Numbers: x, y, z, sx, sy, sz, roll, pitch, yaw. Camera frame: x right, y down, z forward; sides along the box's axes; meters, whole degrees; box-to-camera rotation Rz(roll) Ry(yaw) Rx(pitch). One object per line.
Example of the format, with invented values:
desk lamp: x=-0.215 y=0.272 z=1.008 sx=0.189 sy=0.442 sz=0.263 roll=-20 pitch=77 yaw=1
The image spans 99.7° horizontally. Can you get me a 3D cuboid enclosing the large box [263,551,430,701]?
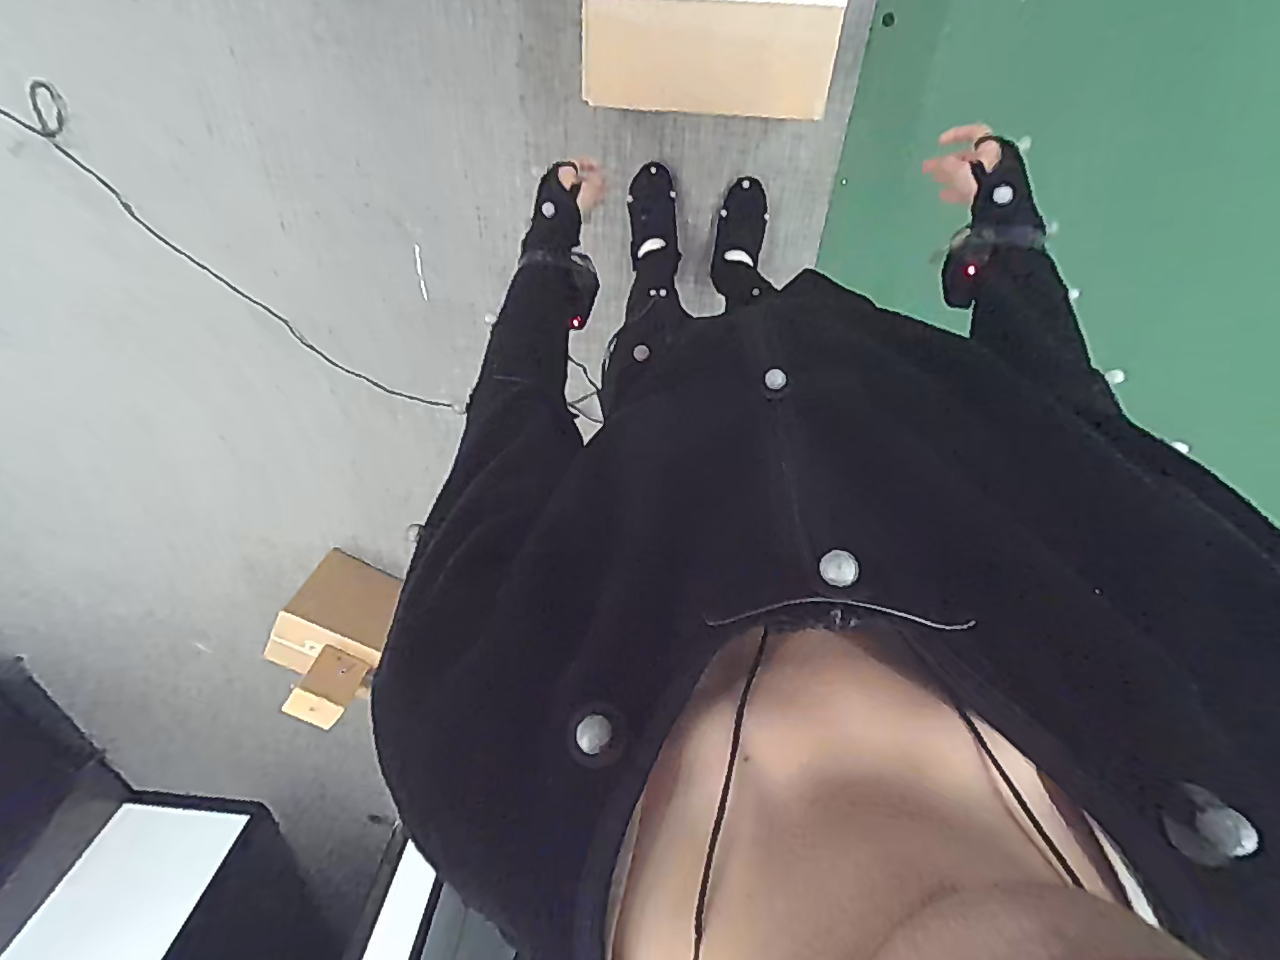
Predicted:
large box: x=-1.059 y=0.534 z=1.985 sx=0.408 sy=0.320 sz=0.320 roll=32 pitch=121 yaw=-13

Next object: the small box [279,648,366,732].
small box: x=-1.049 y=0.696 z=1.798 sx=0.168 sy=0.176 sz=0.179 roll=35 pitch=121 yaw=-16
